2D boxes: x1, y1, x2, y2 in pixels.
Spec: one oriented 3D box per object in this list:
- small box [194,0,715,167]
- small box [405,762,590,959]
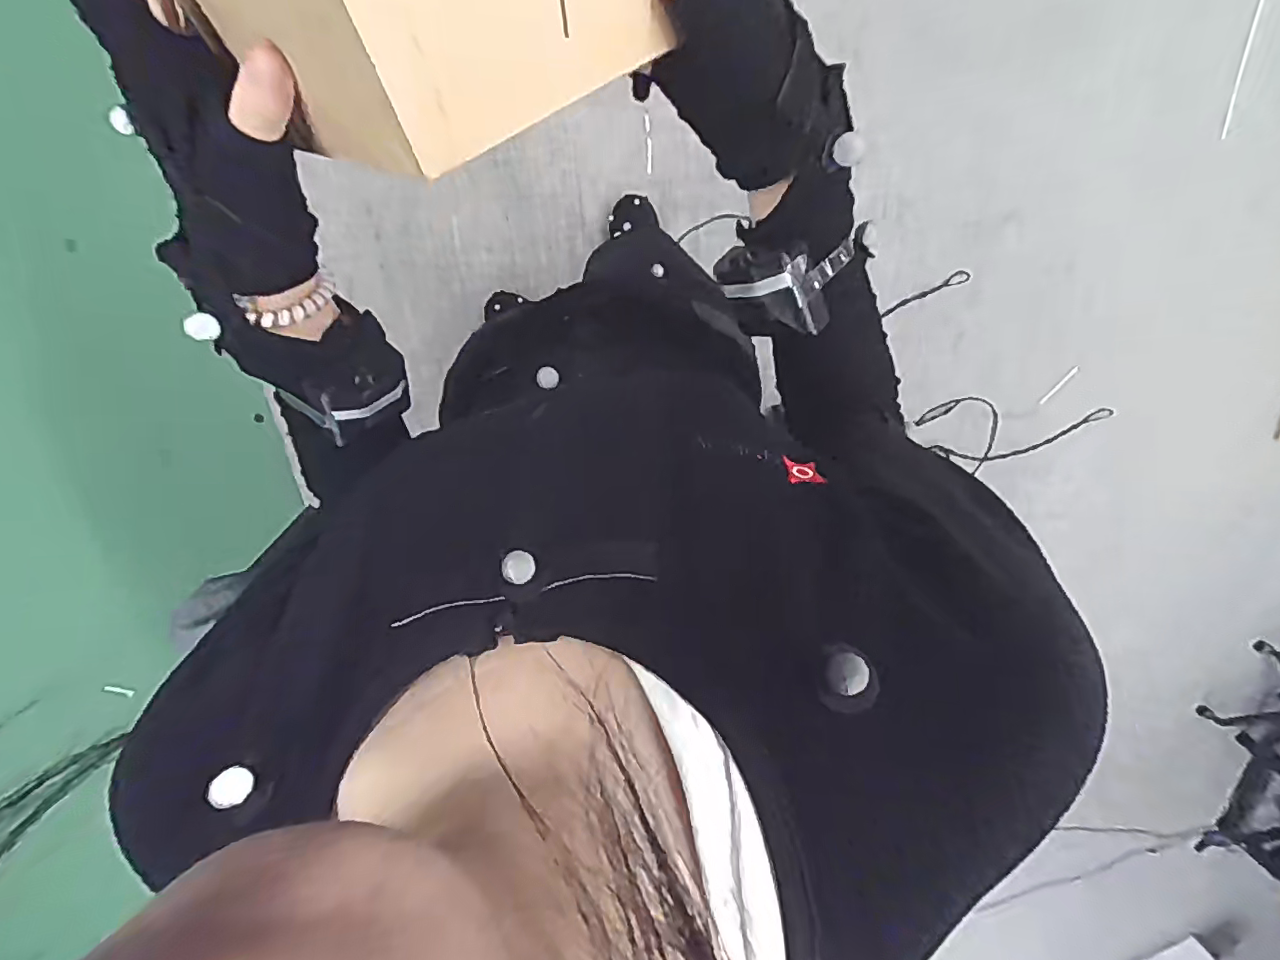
[{"bbox_3d":[-0.093,-0.250,0.205,0.168,0.176,0.179,-44,145,-22],"label":"small box"},{"bbox_3d":[-0.167,0.490,0.682,0.179,0.176,0.168,-11,115,-4],"label":"small box"}]
